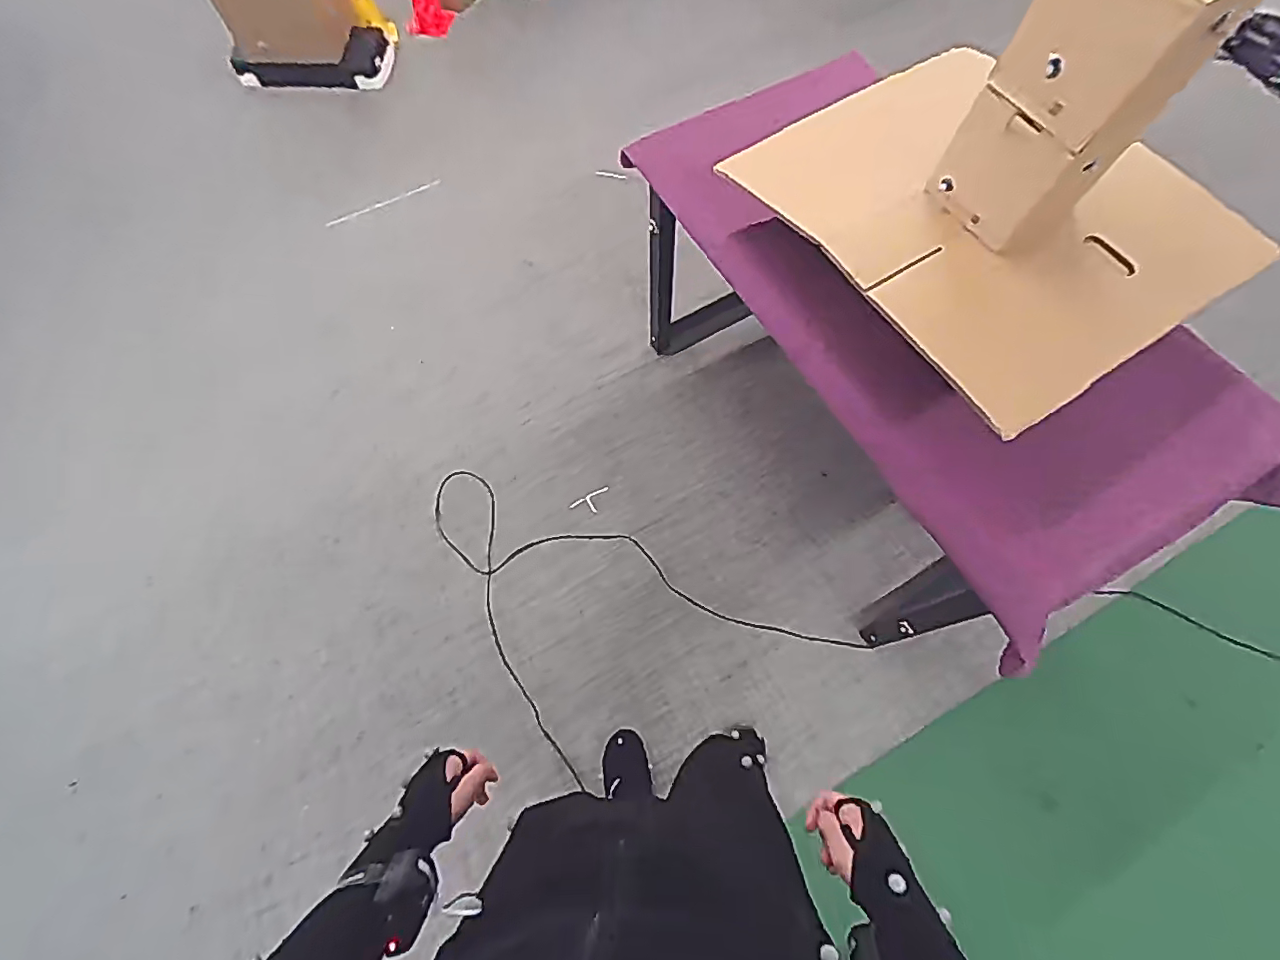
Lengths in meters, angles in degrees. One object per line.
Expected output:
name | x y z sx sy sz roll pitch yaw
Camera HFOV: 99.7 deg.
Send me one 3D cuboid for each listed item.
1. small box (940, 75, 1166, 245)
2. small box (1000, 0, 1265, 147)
small box | 0.585 -0.487 0.799 0.179 0.176 0.168 -31 73 -12
small box | 0.591 -0.550 0.650 0.179 0.176 0.168 -32 73 -11
